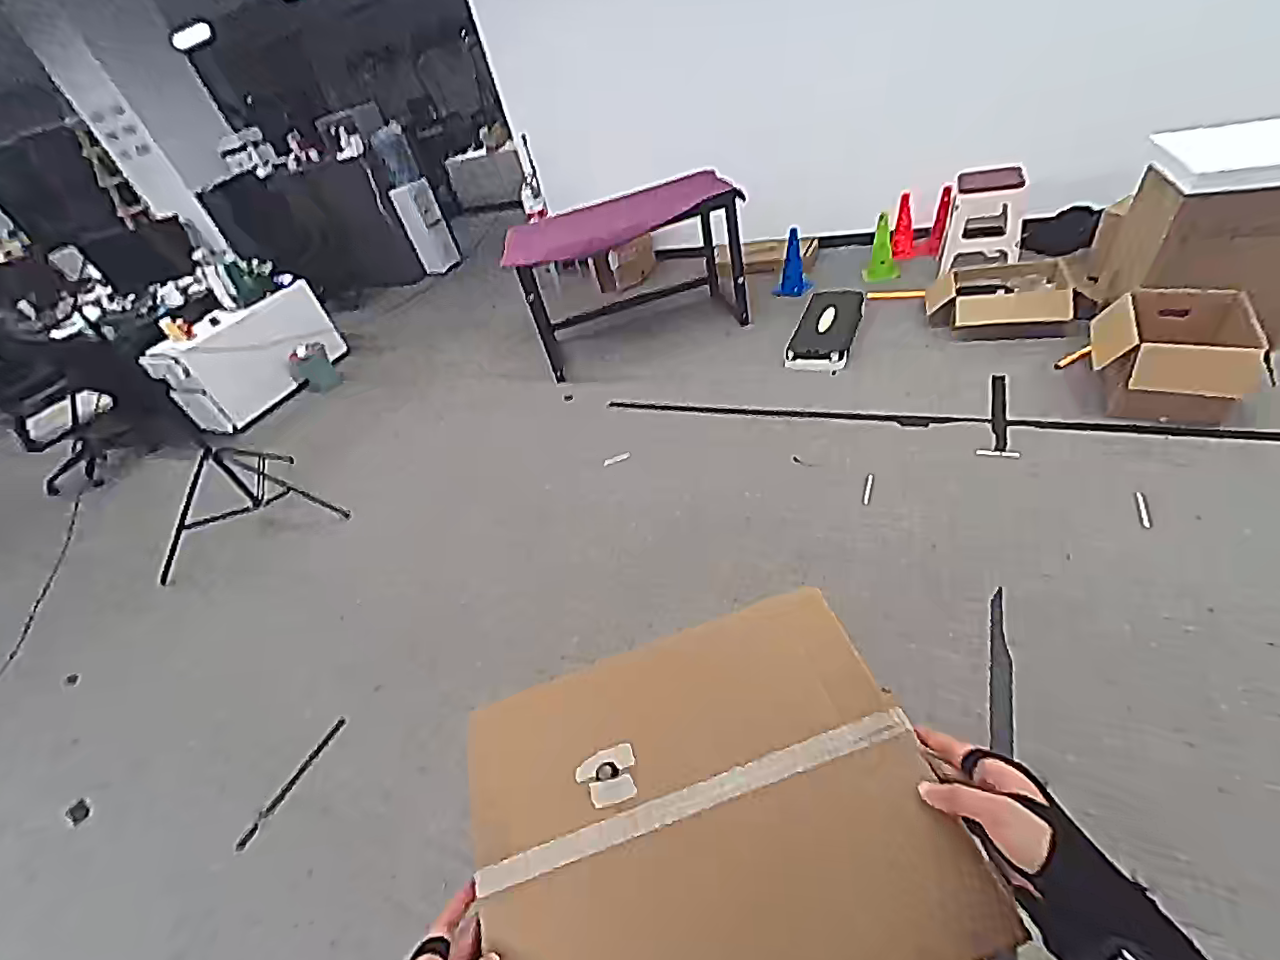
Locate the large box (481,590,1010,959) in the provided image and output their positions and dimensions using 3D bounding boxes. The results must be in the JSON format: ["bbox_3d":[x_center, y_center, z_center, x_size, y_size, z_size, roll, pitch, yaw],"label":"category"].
[{"bbox_3d":[0.087,0.388,0.603,0.408,0.320,0.320,-21,46,-1],"label":"large box"}]
